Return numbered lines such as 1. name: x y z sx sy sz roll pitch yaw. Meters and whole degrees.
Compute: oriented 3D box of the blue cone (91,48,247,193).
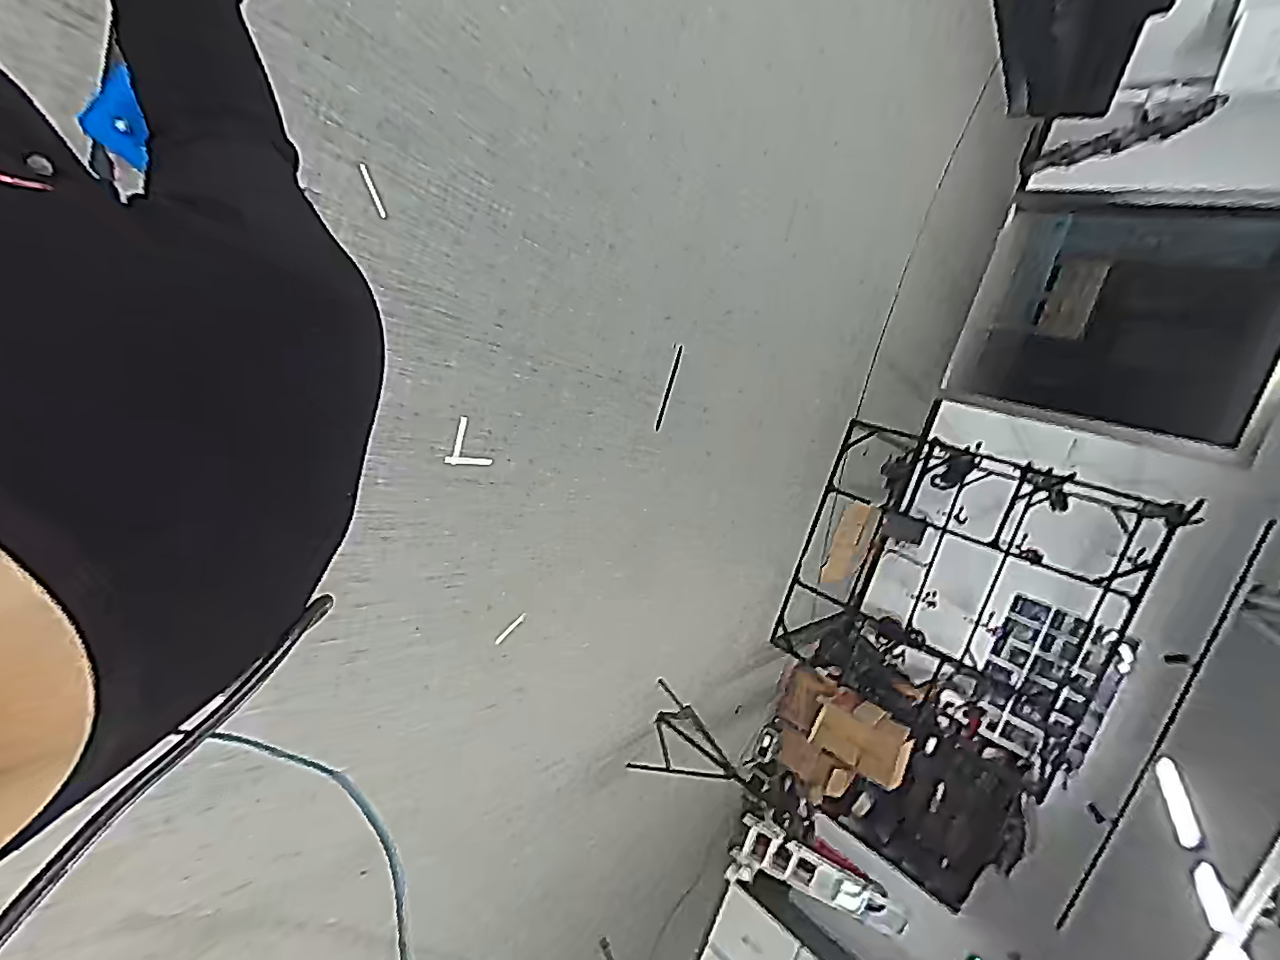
1. blue cone: -0.776 -0.628 0.943 0.192 0.380 0.193 -60 144 -8
